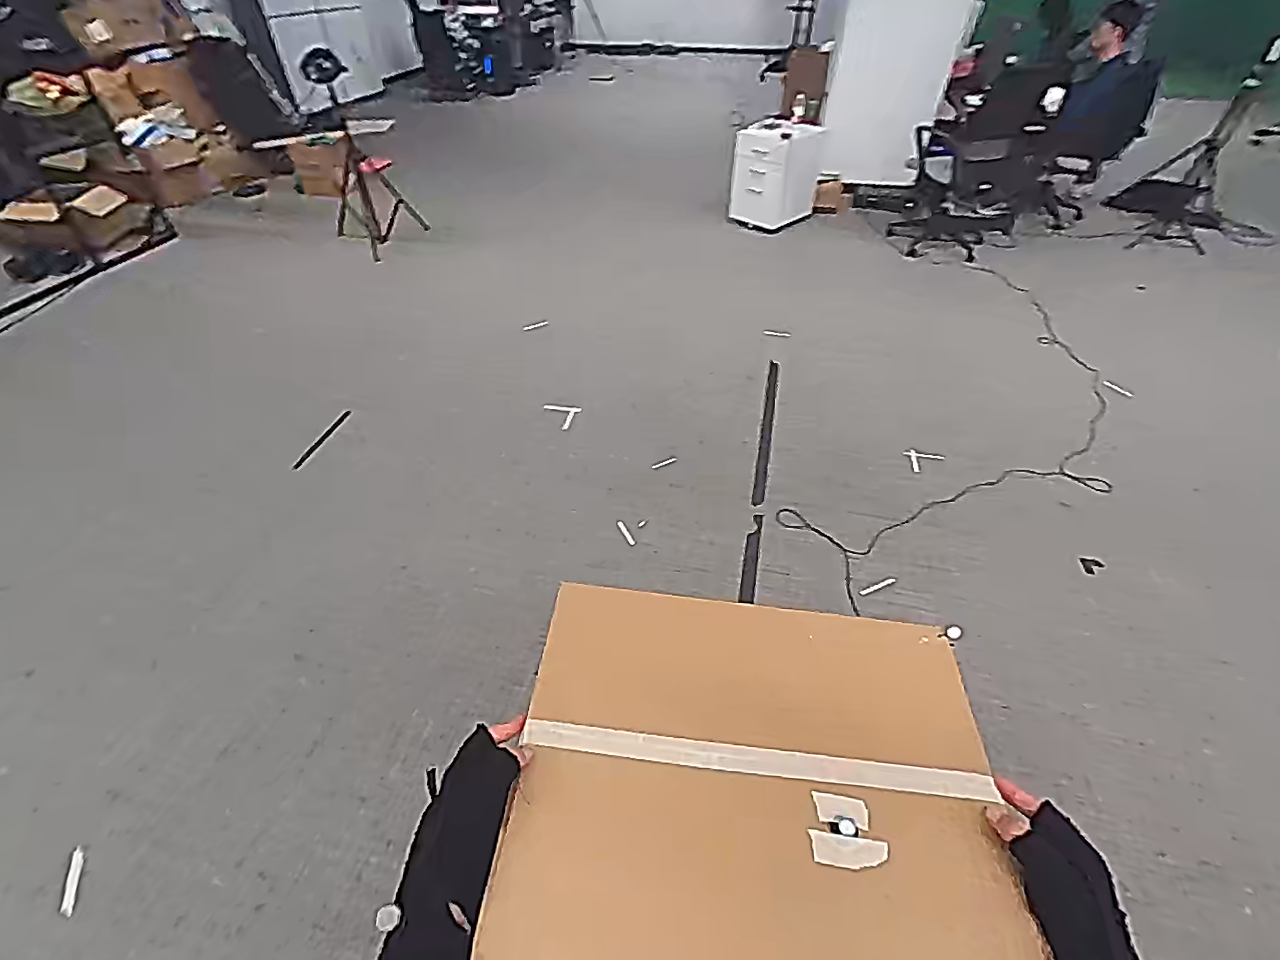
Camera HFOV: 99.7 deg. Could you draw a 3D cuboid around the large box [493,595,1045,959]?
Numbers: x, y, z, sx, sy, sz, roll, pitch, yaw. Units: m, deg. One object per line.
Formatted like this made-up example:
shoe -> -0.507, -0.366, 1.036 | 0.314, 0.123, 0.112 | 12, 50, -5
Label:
large box -> 0.098, 0.355, 0.576 | 0.408, 0.320, 0.320 | 7, 46, 3
